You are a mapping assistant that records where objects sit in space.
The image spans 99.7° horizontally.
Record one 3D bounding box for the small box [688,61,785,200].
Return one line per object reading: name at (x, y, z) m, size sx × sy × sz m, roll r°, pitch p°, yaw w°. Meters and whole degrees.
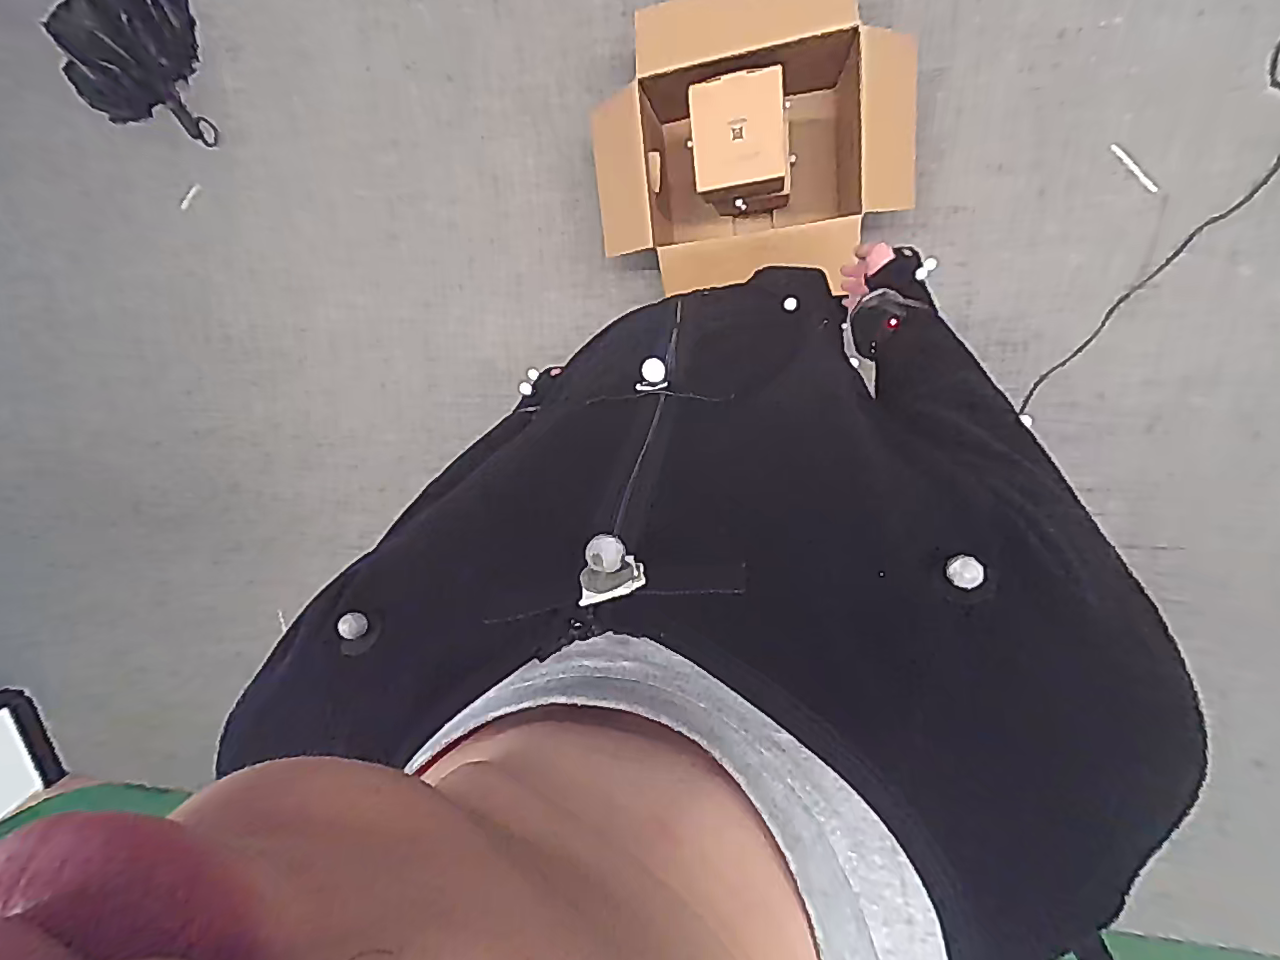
small box at (0.190, -0.661, 1.045) m, size 0.168 × 0.176 × 0.179 m, roll -3°, pitch 109°, yaw 15°
